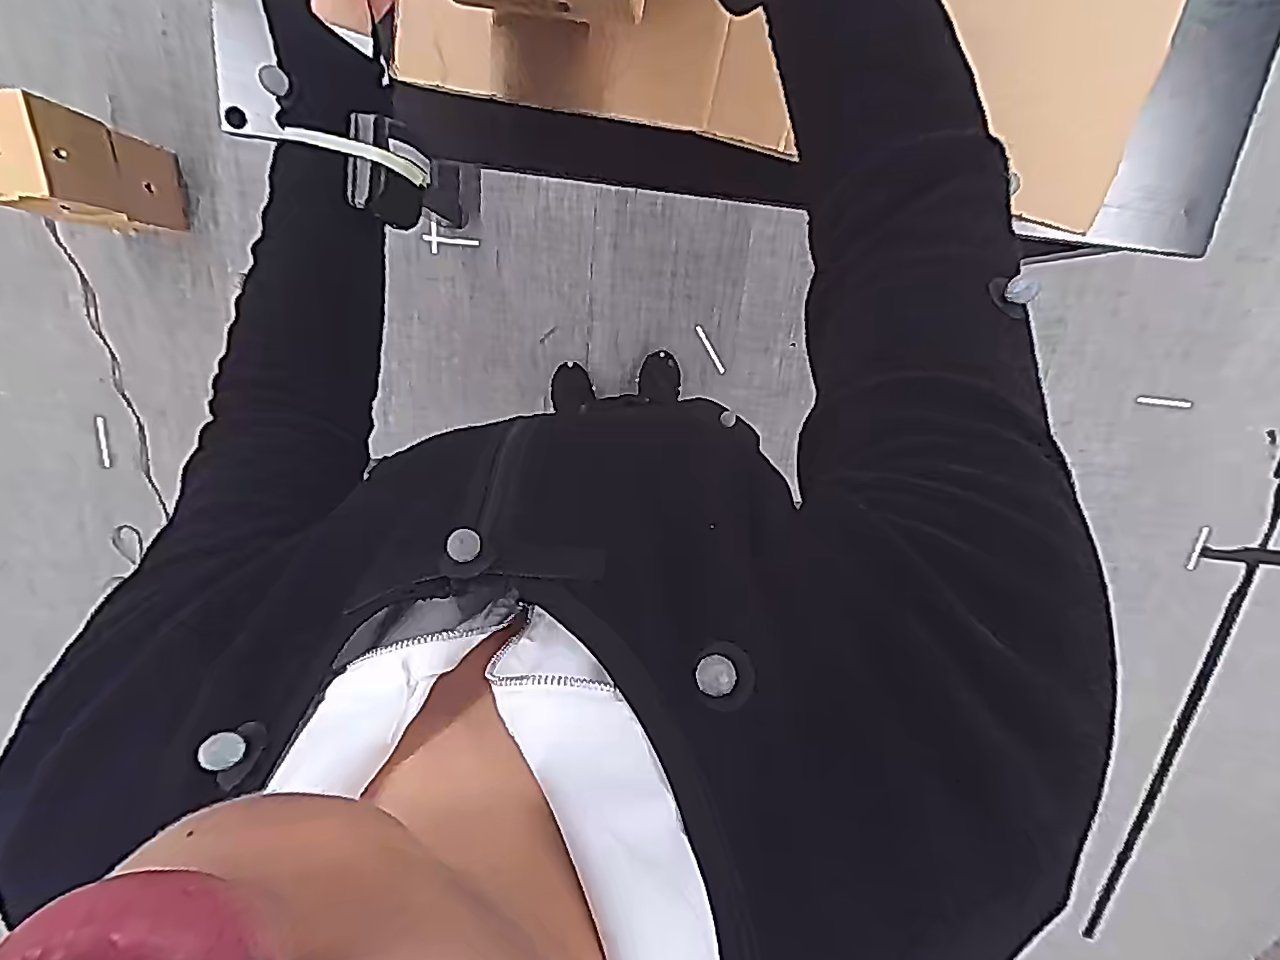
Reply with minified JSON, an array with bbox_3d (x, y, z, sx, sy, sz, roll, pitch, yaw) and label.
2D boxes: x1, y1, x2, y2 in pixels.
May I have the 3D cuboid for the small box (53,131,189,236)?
[{"bbox_3d":[-1.162,-0.656,1.204,0.168,0.176,0.179,2,106,-2],"label":"small box"}]

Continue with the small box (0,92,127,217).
[{"bbox_3d":[-1.158,-0.618,1.046,0.168,0.176,0.179,-1,104,-2],"label":"small box"}]

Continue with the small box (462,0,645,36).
[{"bbox_3d":[-0.075,-0.439,0.348,0.168,0.176,0.179,13,108,6],"label":"small box"}]
